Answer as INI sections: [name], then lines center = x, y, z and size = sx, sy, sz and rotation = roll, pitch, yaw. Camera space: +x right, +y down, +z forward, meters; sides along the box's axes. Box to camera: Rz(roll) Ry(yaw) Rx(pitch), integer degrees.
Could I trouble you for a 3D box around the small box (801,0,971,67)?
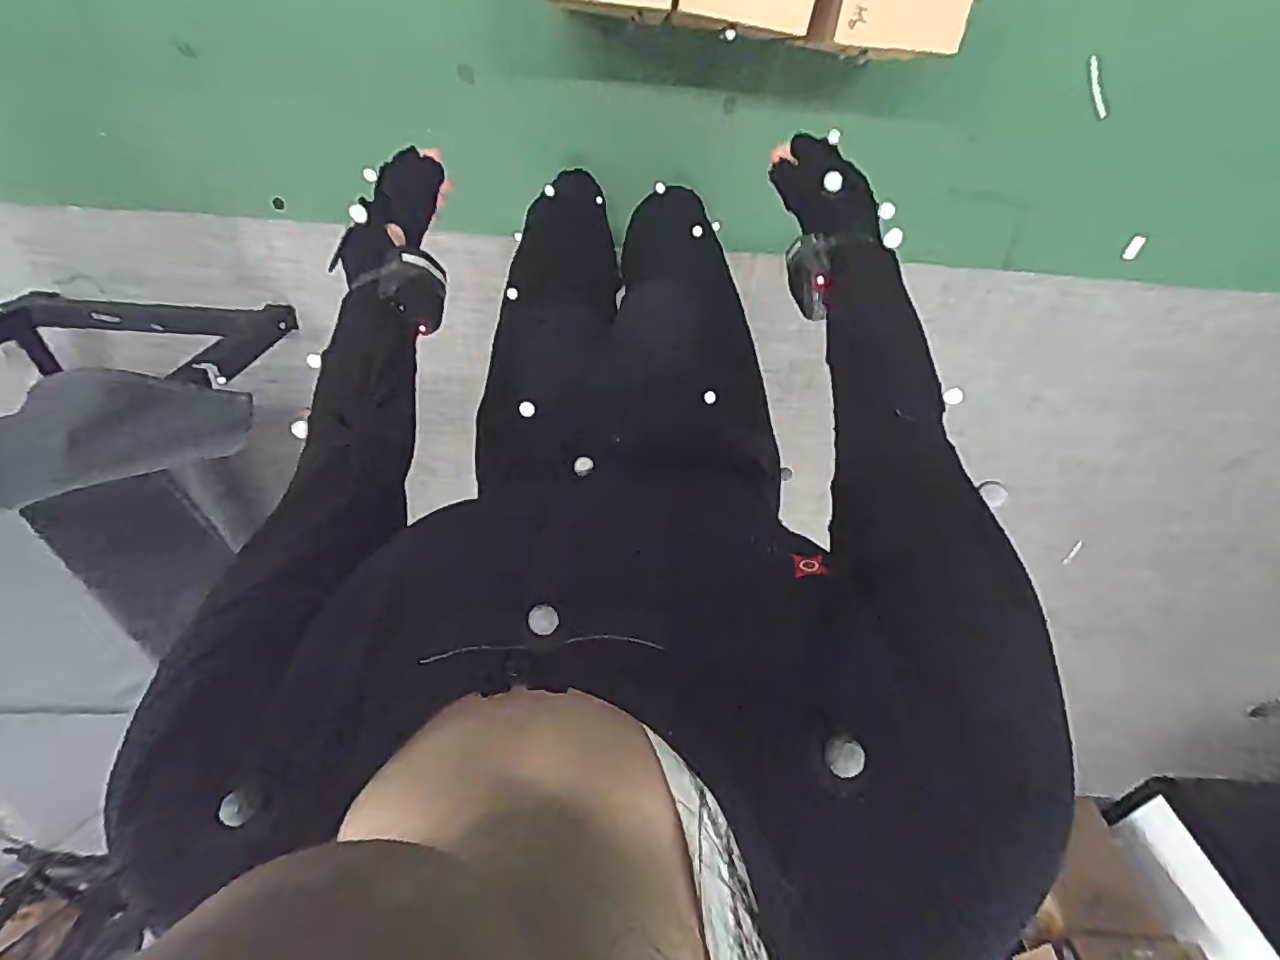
[small box]
center = 0.346, -0.689, 0.752
size = 0.179, 0.176, 0.168
rotation = 3, 127, -4
